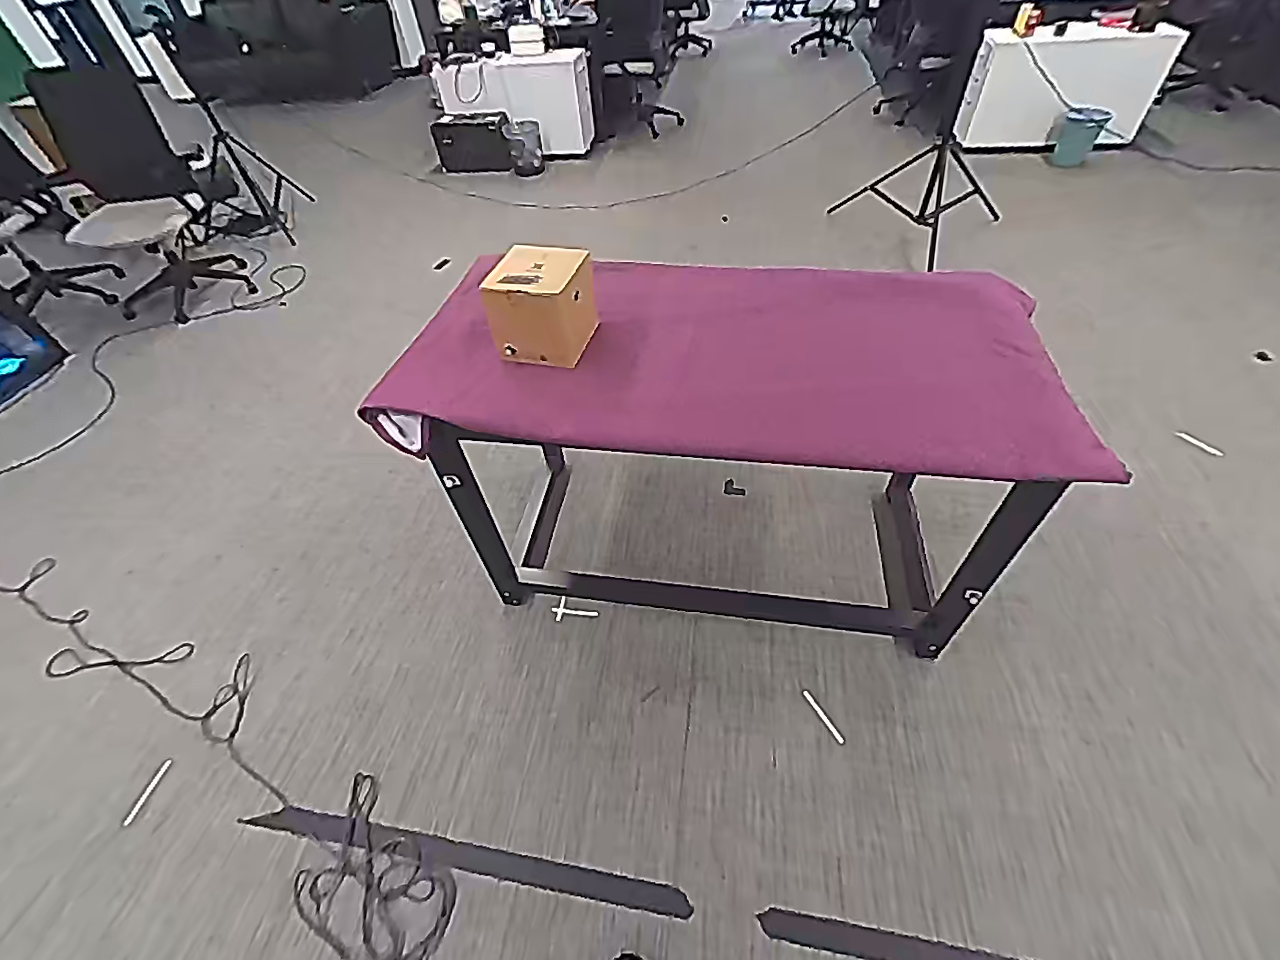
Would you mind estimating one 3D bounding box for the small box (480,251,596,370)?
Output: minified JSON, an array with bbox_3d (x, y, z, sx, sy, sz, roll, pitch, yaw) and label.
[{"bbox_3d":[-0.197,-0.346,1.109,0.168,0.176,0.179,10,49,13],"label":"small box"}]
